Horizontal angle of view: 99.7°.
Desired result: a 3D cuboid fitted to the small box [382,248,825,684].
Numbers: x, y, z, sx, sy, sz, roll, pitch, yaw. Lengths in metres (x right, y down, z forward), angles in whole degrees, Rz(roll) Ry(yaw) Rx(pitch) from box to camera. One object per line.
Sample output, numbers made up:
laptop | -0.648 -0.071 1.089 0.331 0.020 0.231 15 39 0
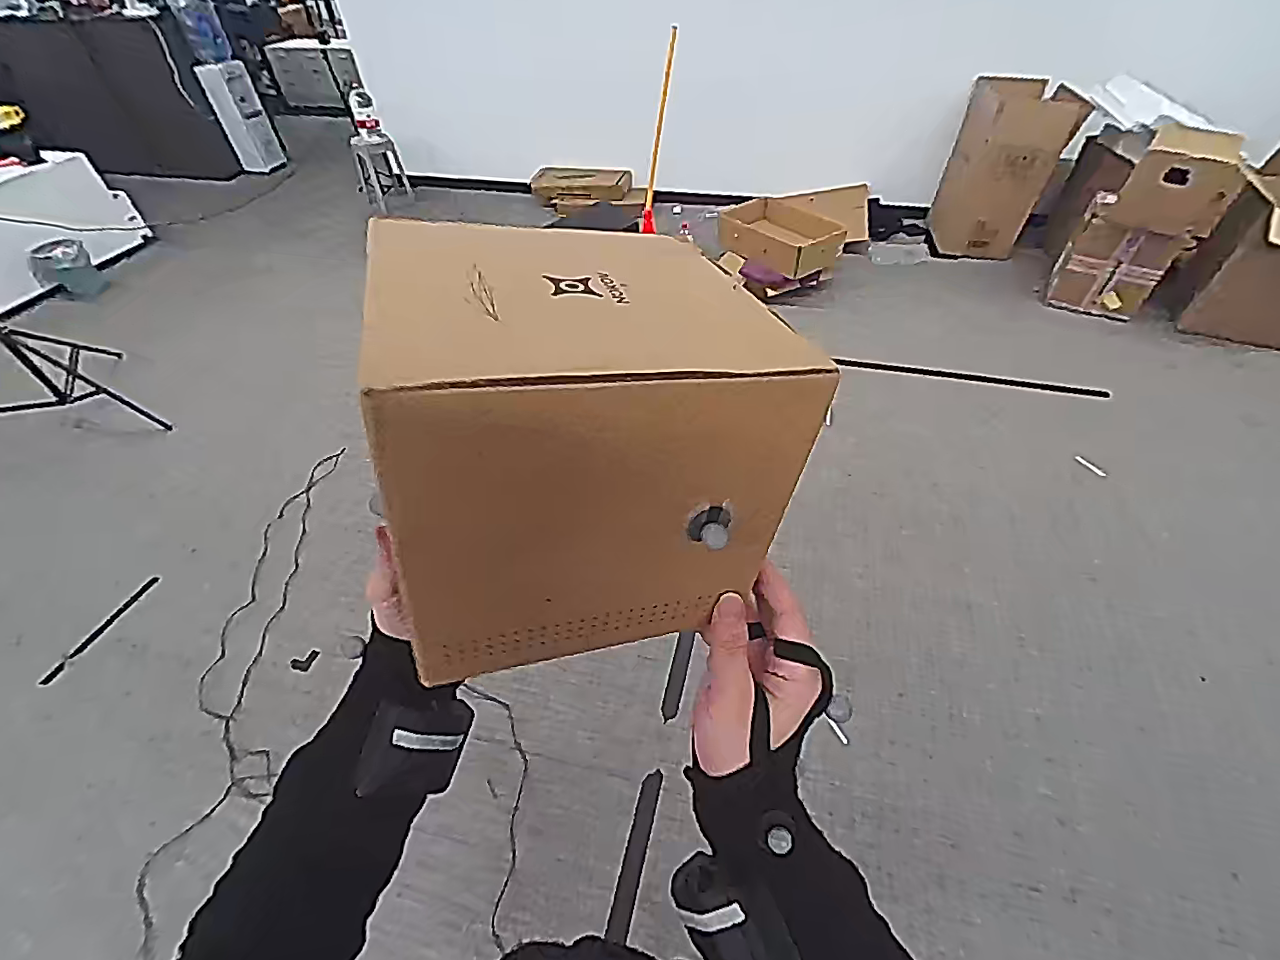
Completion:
small box | -0.036 -0.016 0.306 0.179 0.176 0.168 -9 42 -20
